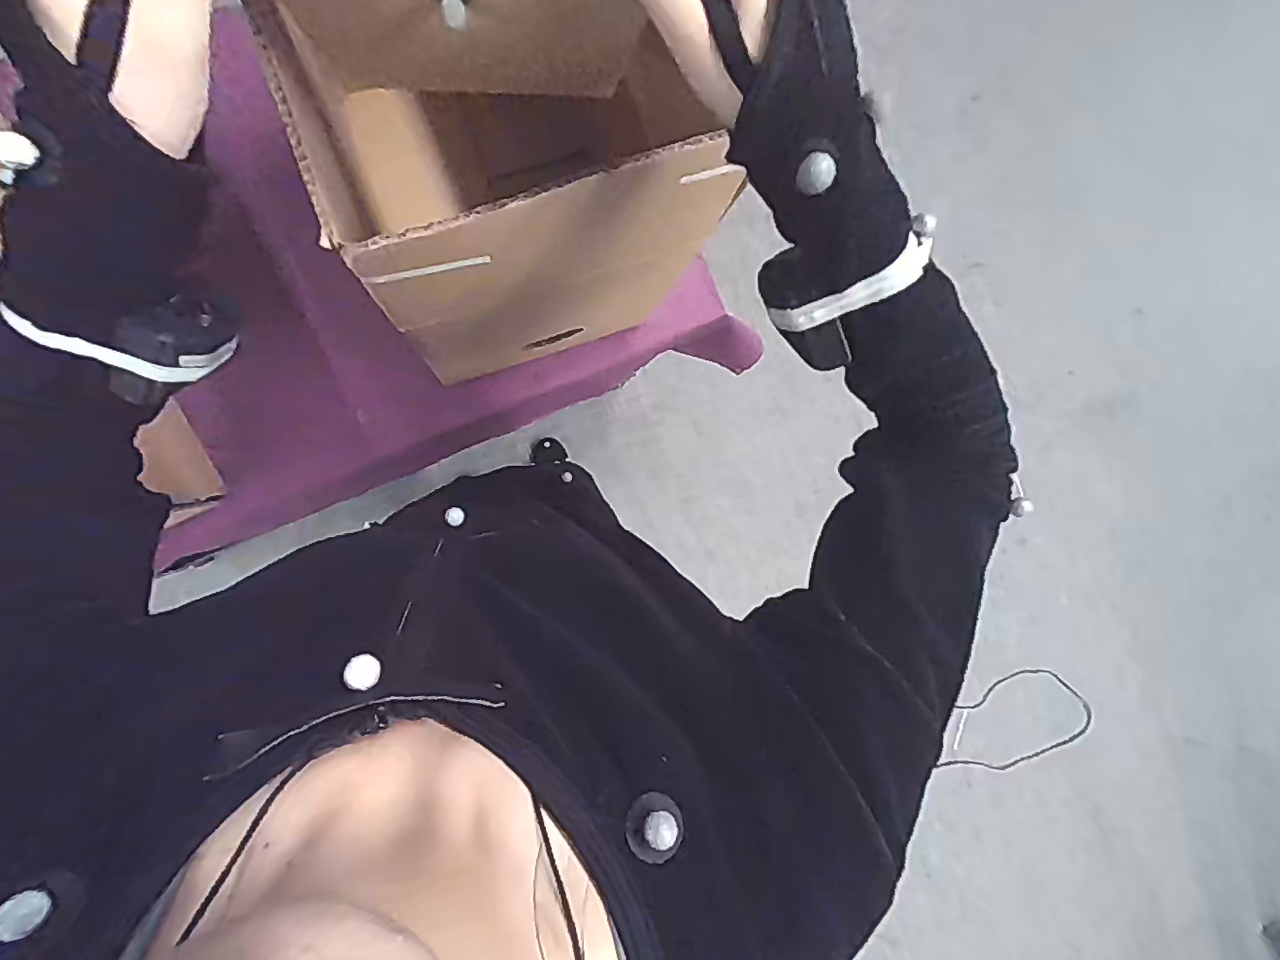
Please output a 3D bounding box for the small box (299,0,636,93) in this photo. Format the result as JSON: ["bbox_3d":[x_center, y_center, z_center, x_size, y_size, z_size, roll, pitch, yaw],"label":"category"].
[{"bbox_3d":[-0.089,-0.313,0.260,0.179,0.176,0.168,-6,109,-12],"label":"small box"}]
